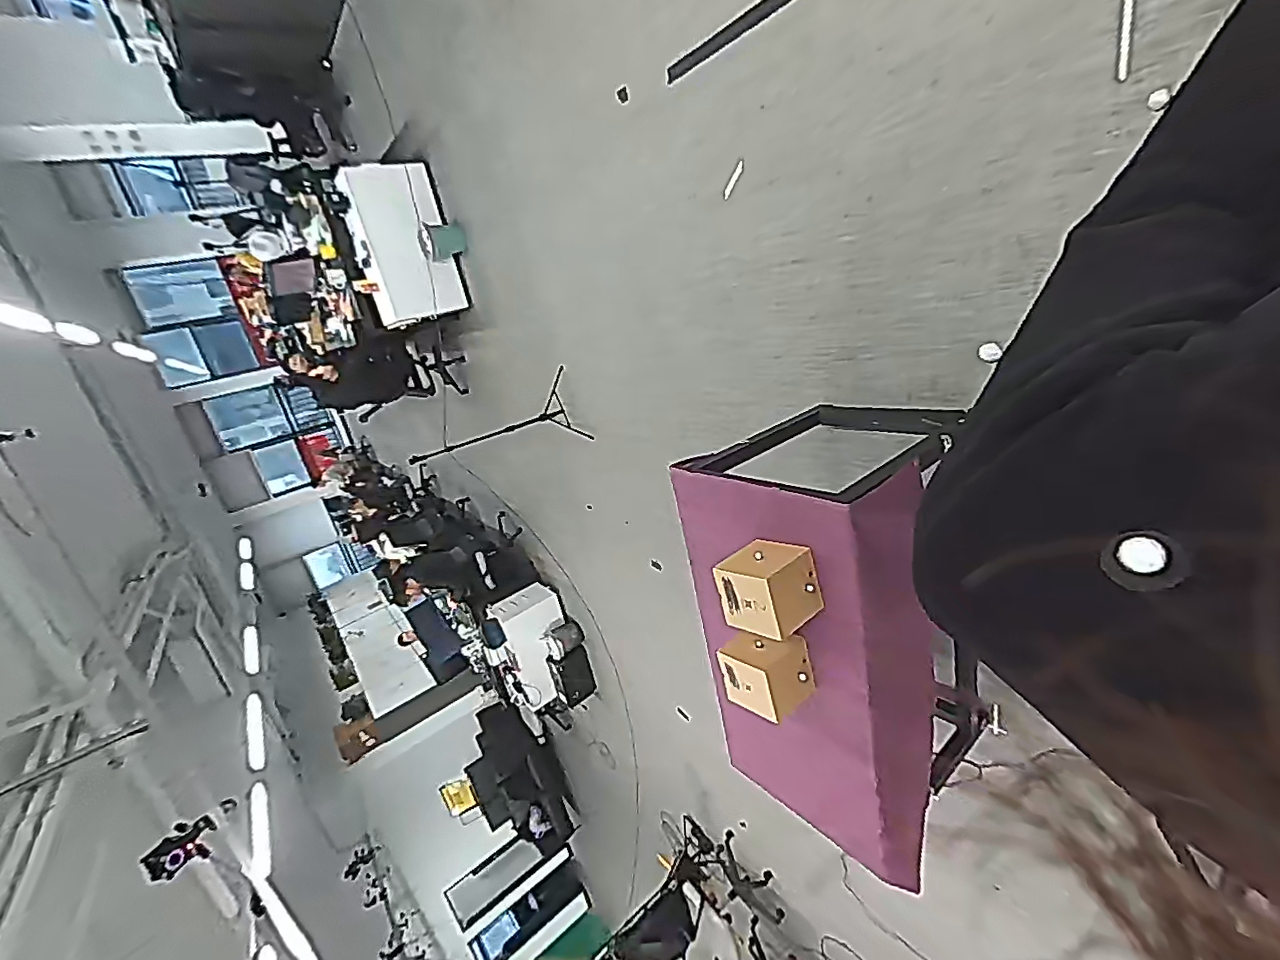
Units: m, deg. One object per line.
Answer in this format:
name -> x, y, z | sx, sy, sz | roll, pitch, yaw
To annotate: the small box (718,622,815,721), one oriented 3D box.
small box -> 0.347, 0.512, 1.478 | 0.179, 0.176, 0.168 | 6, 116, 54
